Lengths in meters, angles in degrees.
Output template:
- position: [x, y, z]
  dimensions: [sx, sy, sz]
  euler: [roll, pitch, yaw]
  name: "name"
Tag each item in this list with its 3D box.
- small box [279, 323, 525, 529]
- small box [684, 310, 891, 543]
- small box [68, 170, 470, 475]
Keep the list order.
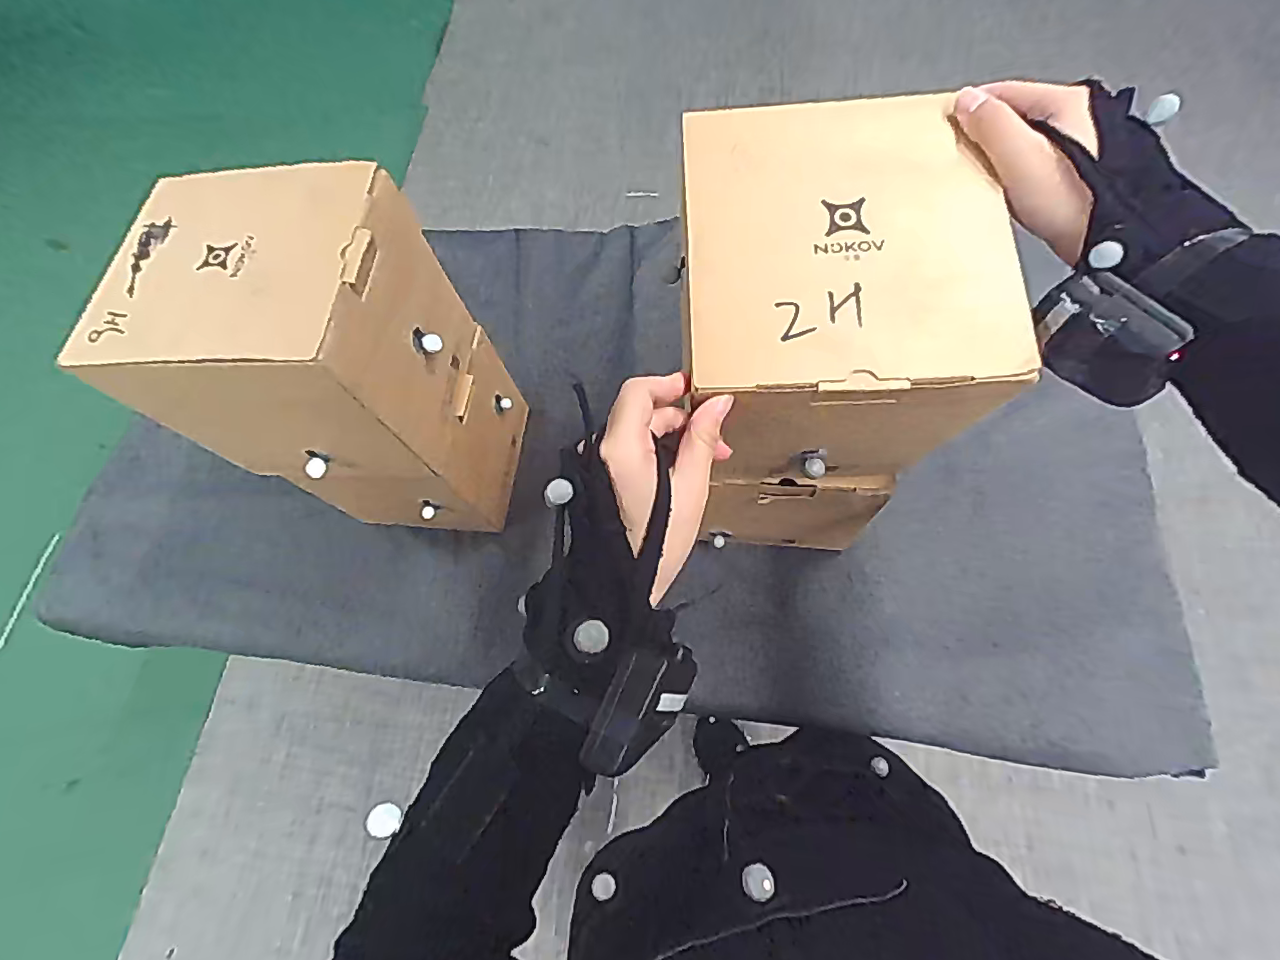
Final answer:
- position: [-0.238, -0.051, 0.581]
  dimensions: [0.179, 0.176, 0.168]
  euler: [3, 66, 8]
  name: "small box"
- position: [0.134, -0.044, 0.537]
  dimensions: [0.168, 0.176, 0.179]
  euler: [3, 67, 7]
  name: "small box"
- position: [-0.255, -0.111, 0.428]
  dimensions: [0.179, 0.176, 0.168]
  euler: [1, 66, 6]
  name: "small box"
